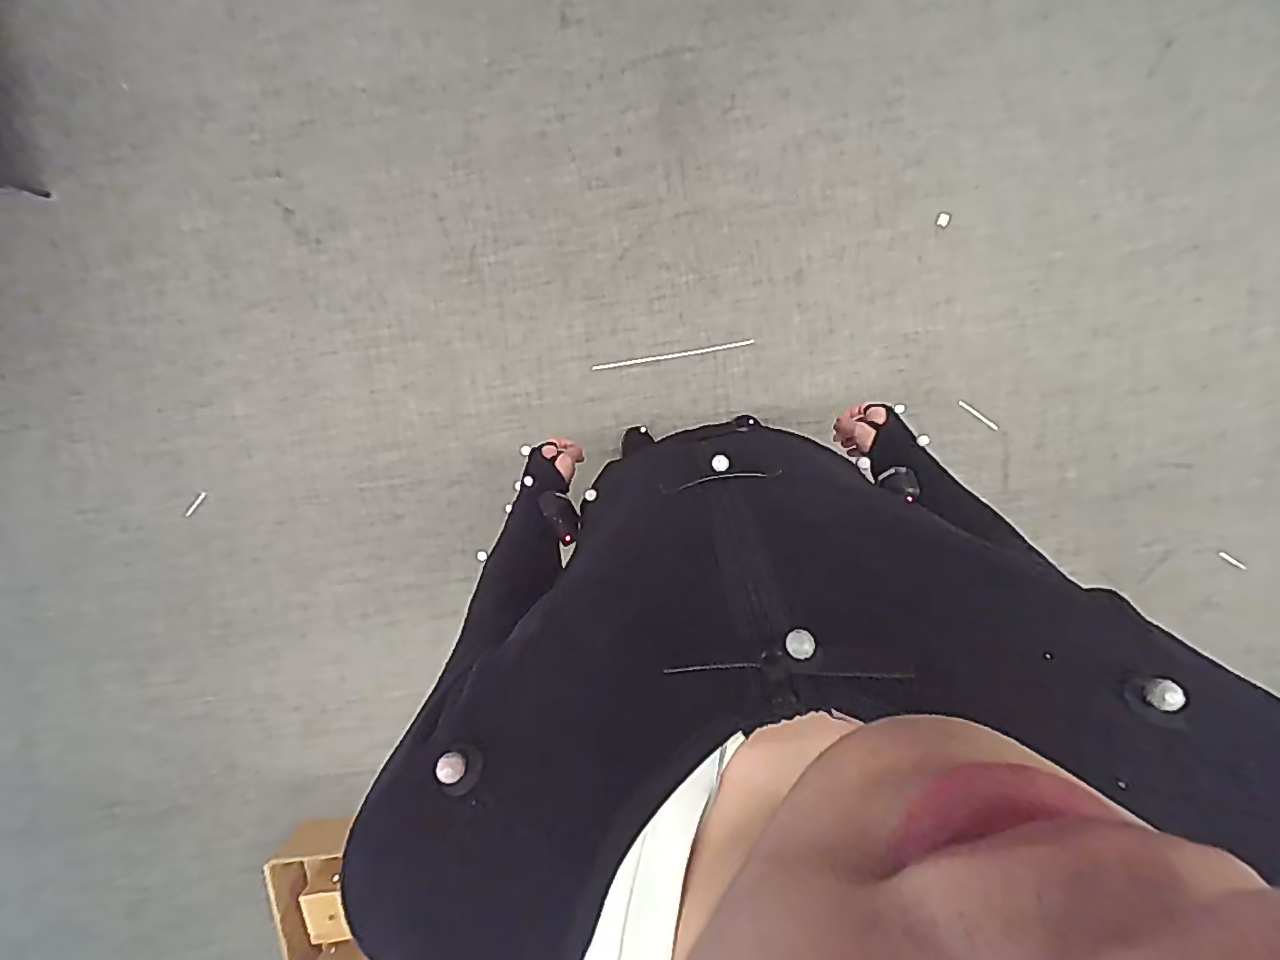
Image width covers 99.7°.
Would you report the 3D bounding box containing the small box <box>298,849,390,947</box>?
[{"bbox_3d":[-0.914,1.294,1.684,0.179,0.176,0.168,-9,96,1],"label":"small box"}]
